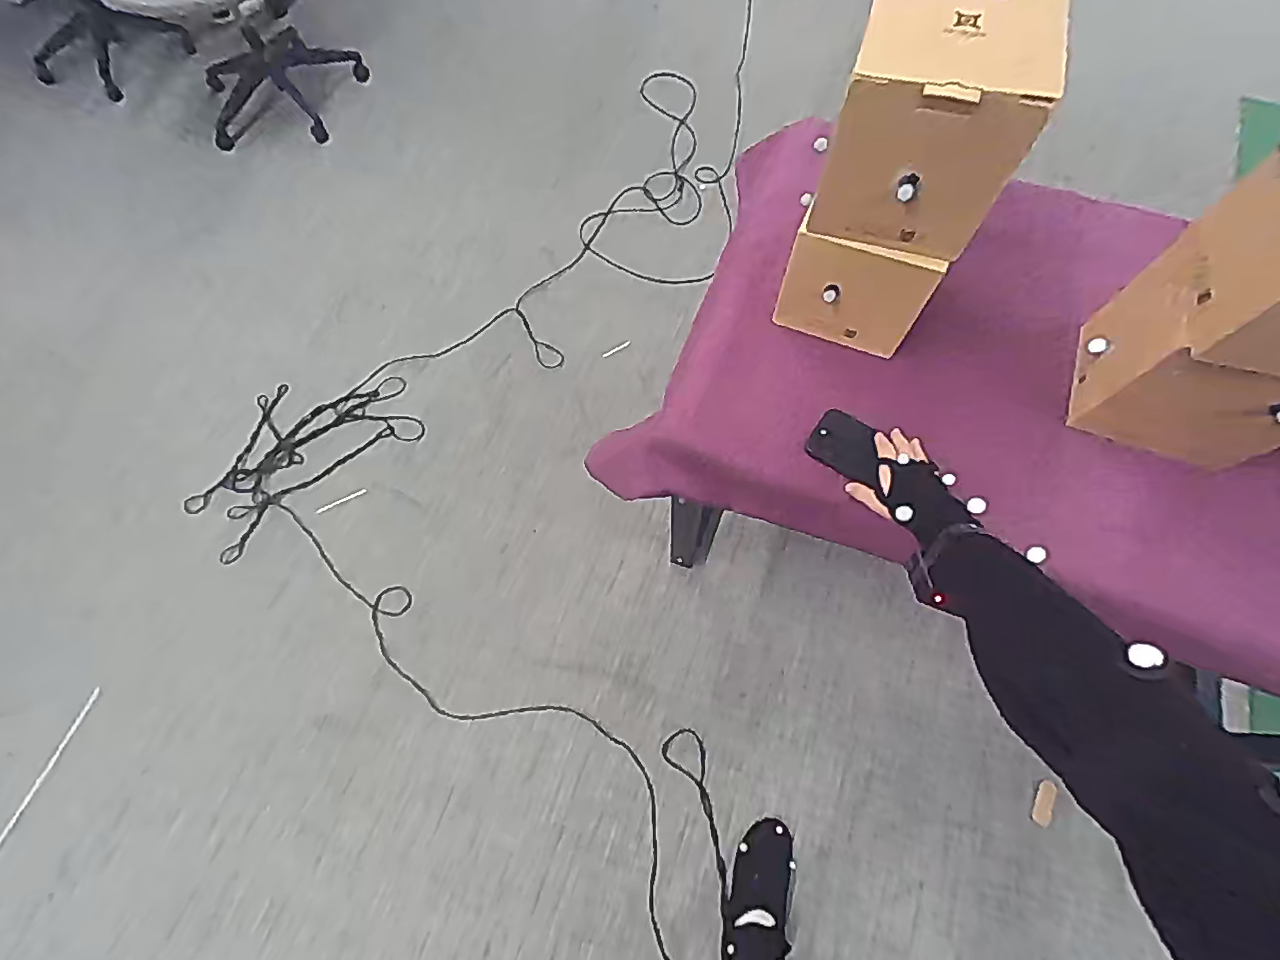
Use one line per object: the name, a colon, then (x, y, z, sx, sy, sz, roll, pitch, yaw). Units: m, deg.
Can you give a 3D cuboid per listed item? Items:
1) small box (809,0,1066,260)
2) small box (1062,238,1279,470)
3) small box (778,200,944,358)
small box: (0.283, -0.357, 0.548, 0.168, 0.176, 0.179, 17, 70, 9)
small box: (0.636, -0.130, 0.612, 0.179, 0.176, 0.168, 22, 70, 11)
small box: (0.288, -0.288, 0.698, 0.168, 0.176, 0.179, 22, 70, 12)
